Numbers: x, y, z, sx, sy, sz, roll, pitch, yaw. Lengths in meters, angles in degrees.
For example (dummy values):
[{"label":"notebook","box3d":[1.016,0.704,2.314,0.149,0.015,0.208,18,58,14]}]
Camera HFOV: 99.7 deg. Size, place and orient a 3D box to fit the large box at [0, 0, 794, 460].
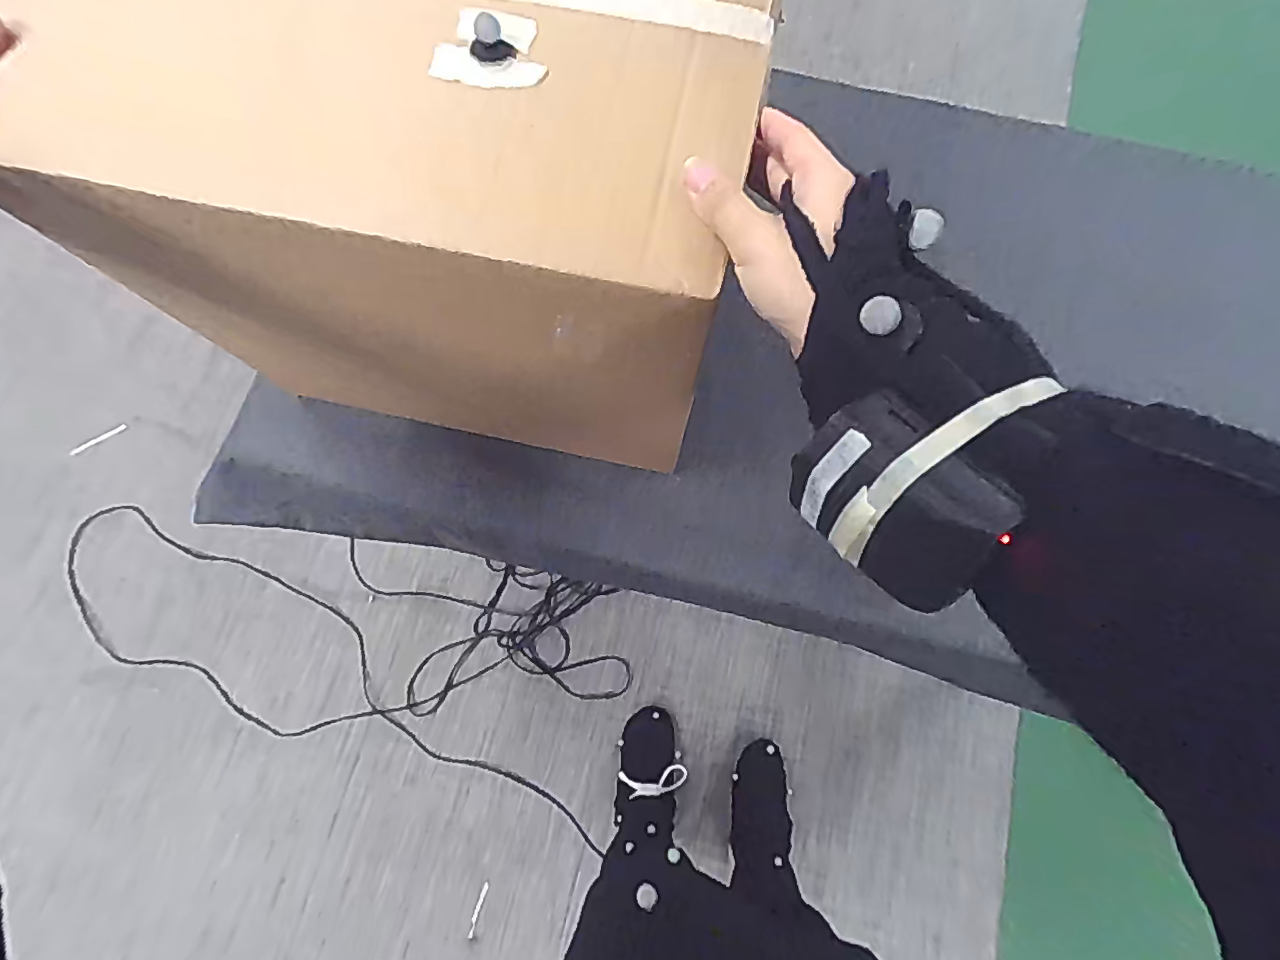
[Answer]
[{"label":"large box","box3d":[-0.122,-0.233,0.442,0.408,0.320,0.320,12,77,1]}]
